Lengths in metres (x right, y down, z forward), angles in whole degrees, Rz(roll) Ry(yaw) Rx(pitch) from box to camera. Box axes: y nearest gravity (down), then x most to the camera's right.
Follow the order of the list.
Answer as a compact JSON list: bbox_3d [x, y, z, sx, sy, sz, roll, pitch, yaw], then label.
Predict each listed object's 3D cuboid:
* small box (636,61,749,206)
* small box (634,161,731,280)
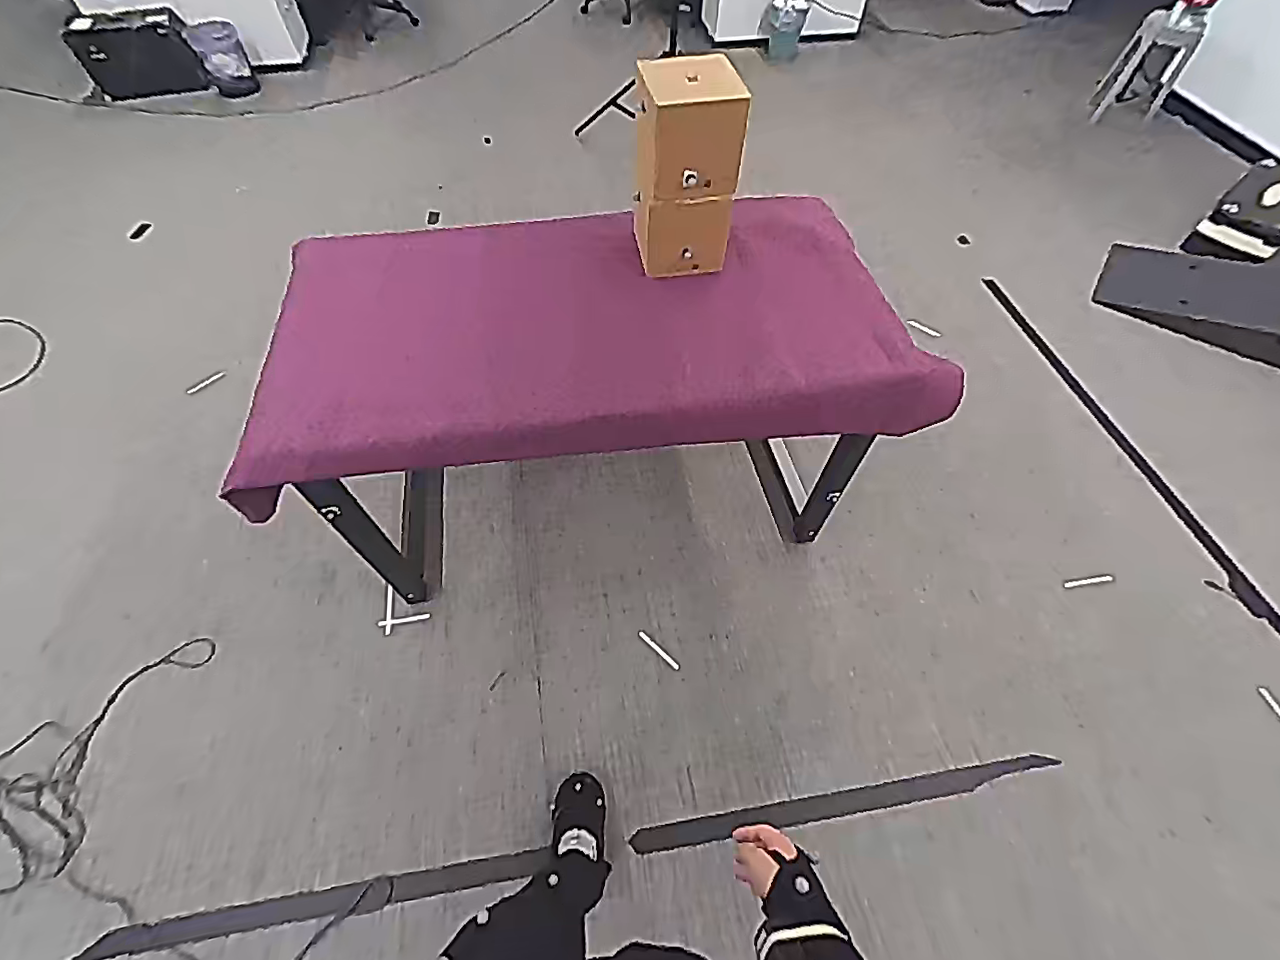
[{"bbox_3d":[0.087,-0.641,1.005,0.168,0.176,0.179,-10,59,-6],"label":"small box"},{"bbox_3d":[0.079,-0.548,1.138,0.168,0.176,0.179,-8,58,-5],"label":"small box"}]
